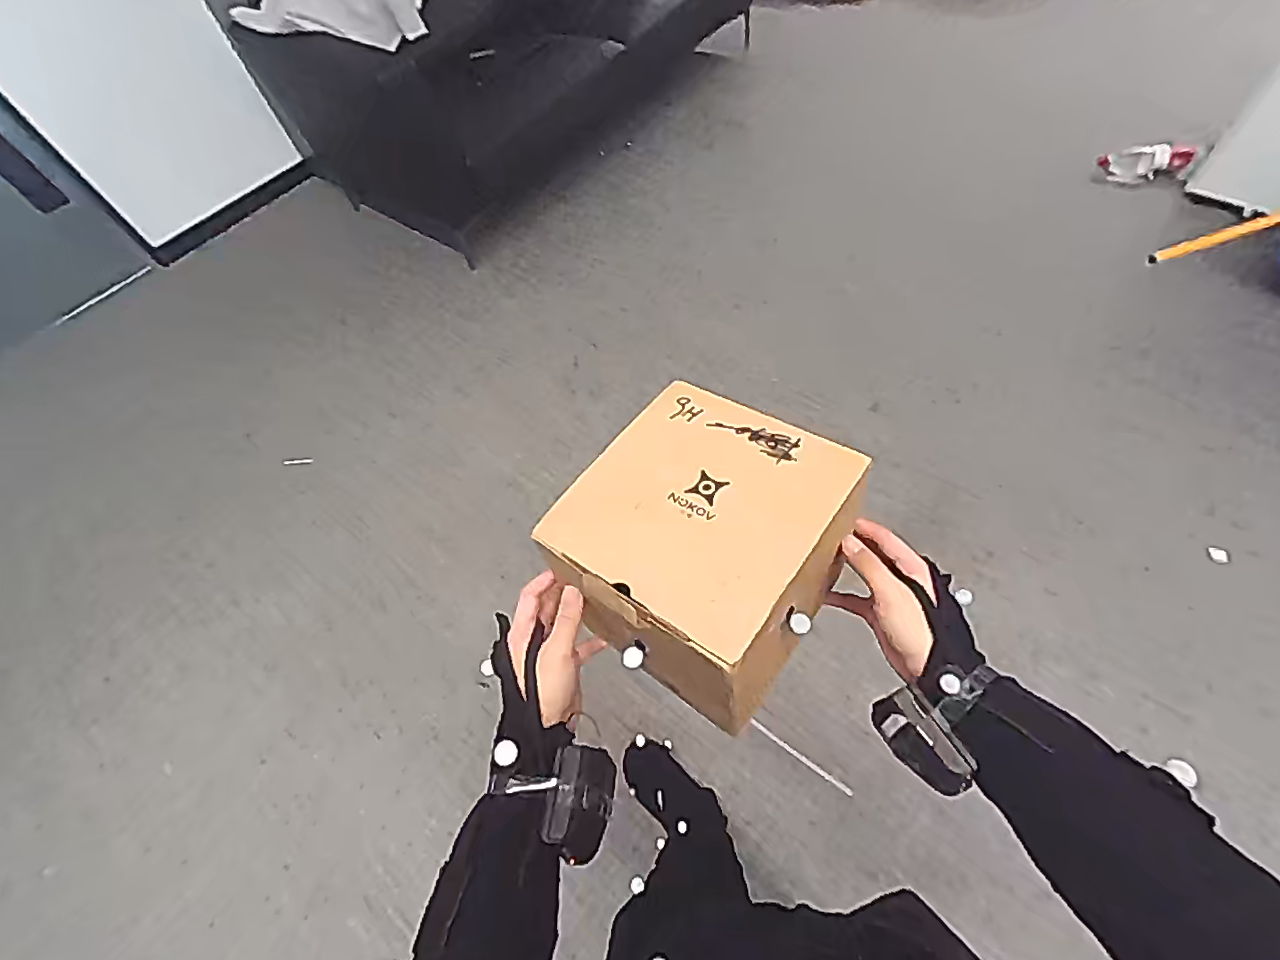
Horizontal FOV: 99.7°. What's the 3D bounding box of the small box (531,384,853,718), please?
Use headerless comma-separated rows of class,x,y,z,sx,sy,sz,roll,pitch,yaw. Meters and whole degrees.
small box,0.049,0.060,0.440,0.168,0.176,0.179,28,64,28
